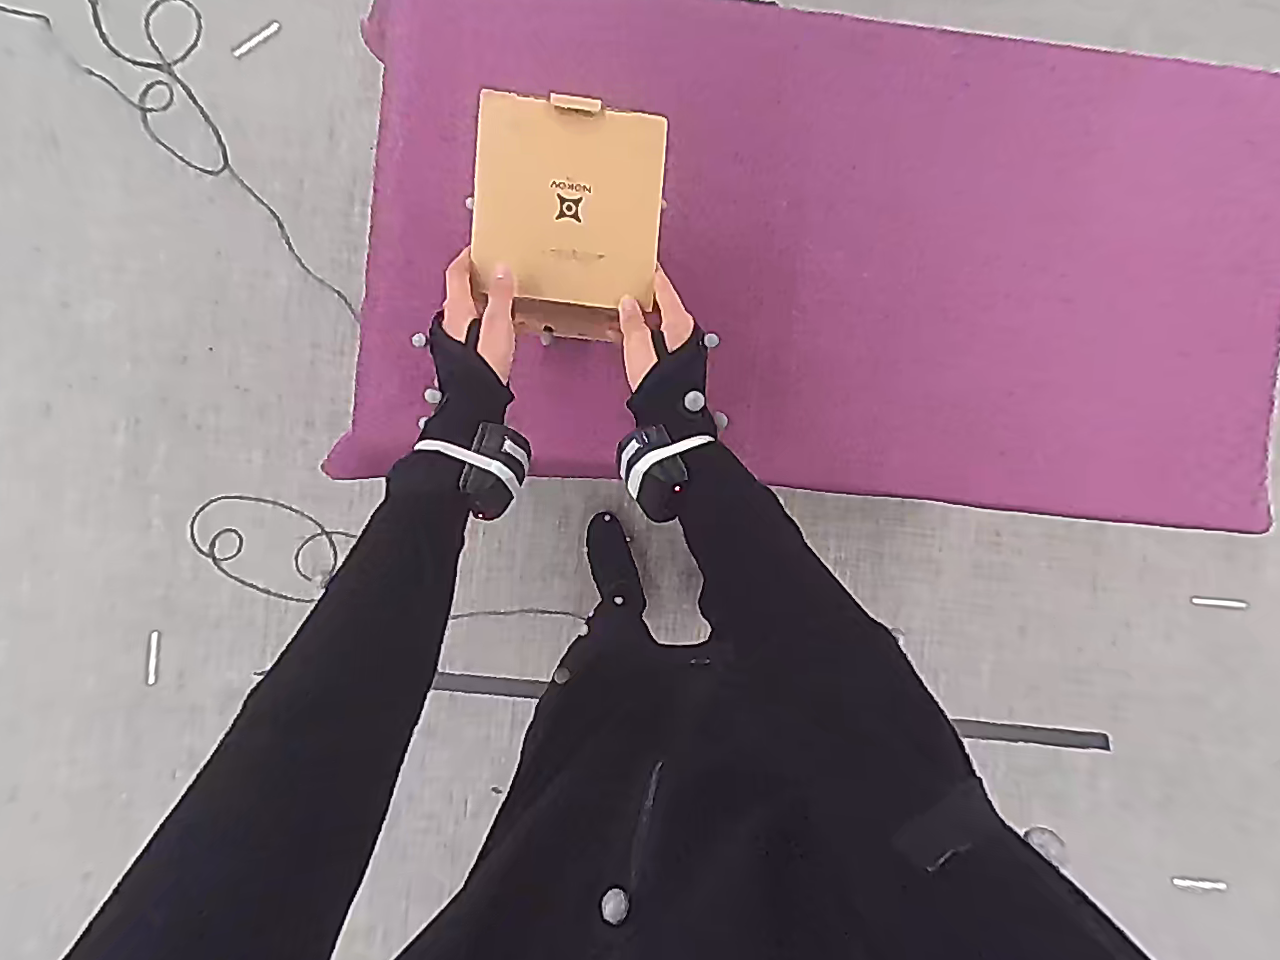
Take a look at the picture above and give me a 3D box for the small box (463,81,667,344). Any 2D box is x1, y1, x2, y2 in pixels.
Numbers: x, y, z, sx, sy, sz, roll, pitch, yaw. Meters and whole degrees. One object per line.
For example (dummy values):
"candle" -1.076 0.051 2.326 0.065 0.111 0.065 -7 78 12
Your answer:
"small box" -0.075 -0.249 0.550 0.168 0.176 0.179 5 94 -7
